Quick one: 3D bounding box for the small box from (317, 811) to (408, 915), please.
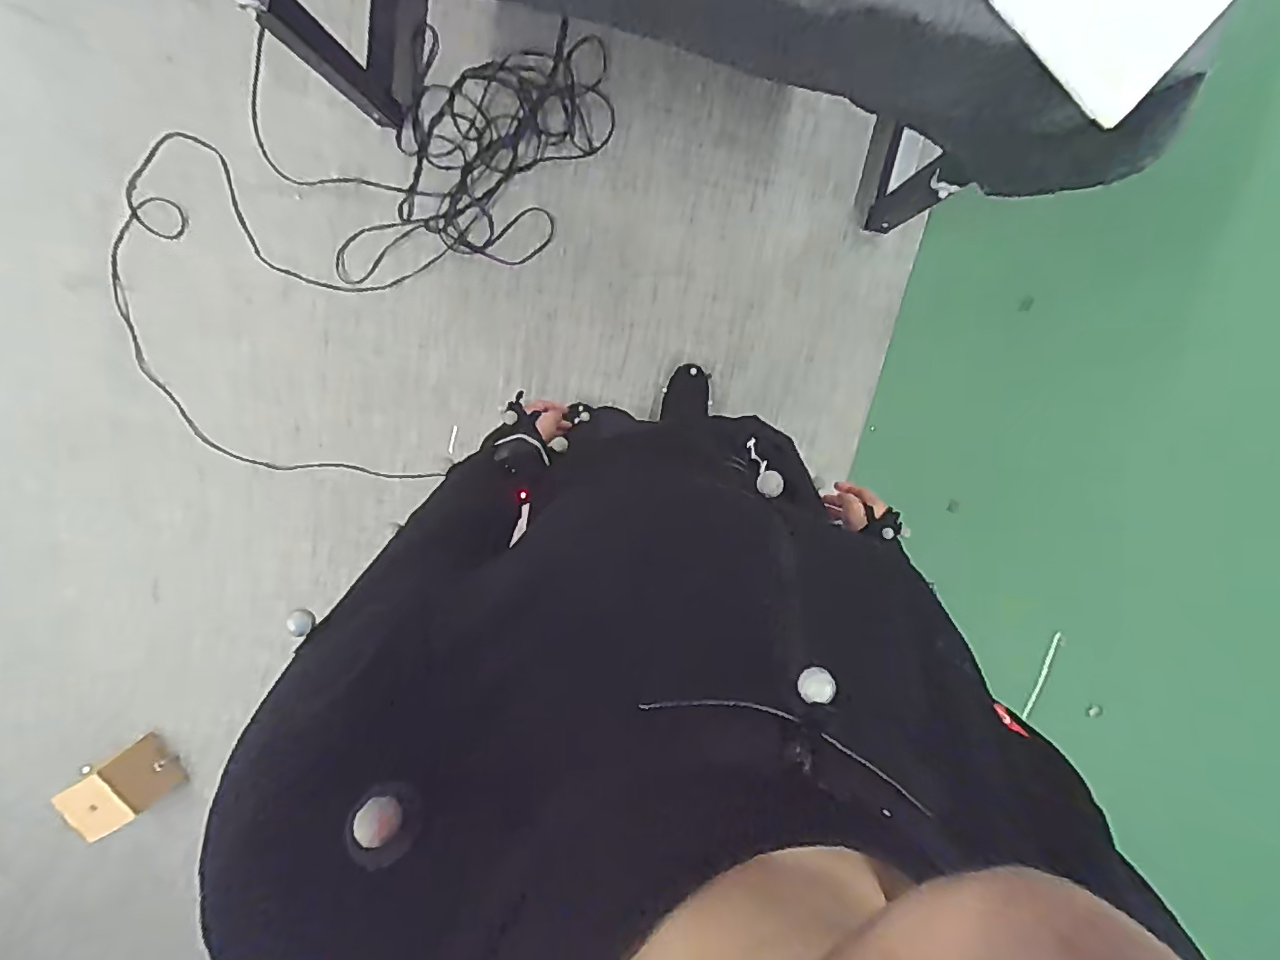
[{"bbox_3d":[-0.781,1.078,1.533,0.179,0.176,0.168,9,102,0],"label":"small box"}]

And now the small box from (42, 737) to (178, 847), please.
[{"bbox_3d":[-1.464,0.863,1.507,0.179,0.176,0.168,-31,101,7],"label":"small box"}]
